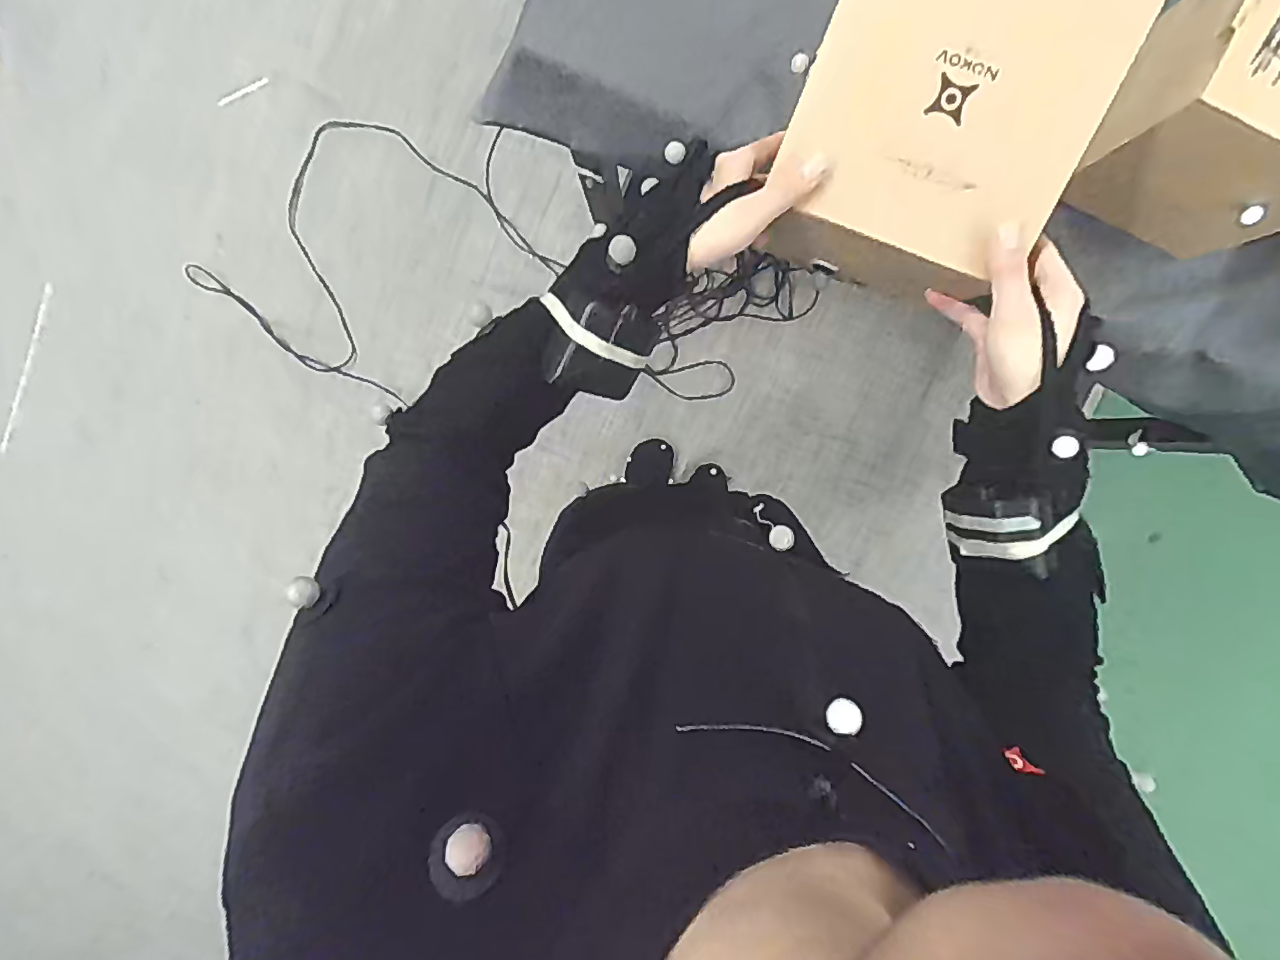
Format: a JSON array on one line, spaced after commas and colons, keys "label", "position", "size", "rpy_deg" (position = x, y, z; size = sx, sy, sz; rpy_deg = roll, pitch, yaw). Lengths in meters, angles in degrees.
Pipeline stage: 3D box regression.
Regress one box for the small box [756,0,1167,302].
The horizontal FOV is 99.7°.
[{"label": "small box", "position": [0.192, -0.245, 0.387], "size": [0.168, 0.176, 0.179], "rpy_deg": [23, 106, 2]}]
